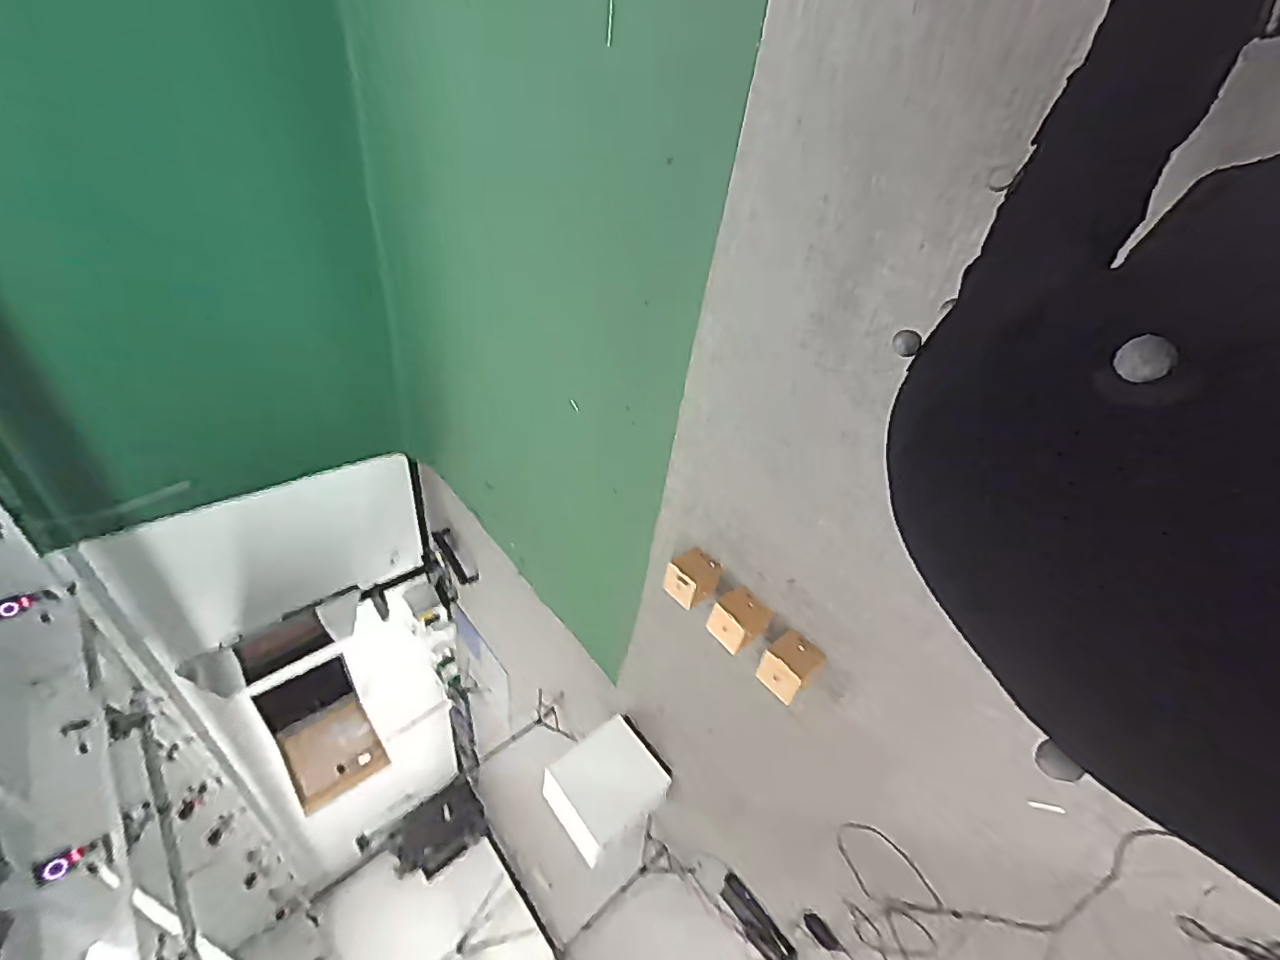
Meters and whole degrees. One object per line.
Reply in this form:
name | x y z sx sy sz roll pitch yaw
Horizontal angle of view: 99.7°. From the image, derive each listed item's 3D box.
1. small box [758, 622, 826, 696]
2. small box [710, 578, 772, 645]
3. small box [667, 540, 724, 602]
small box | 0.591 0.689 2.093 0.168 0.176 0.179 39 136 32
small box | 0.421 0.543 2.240 0.168 0.176 0.179 42 137 32
small box | 0.247 0.397 2.384 0.168 0.176 0.179 39 137 34
